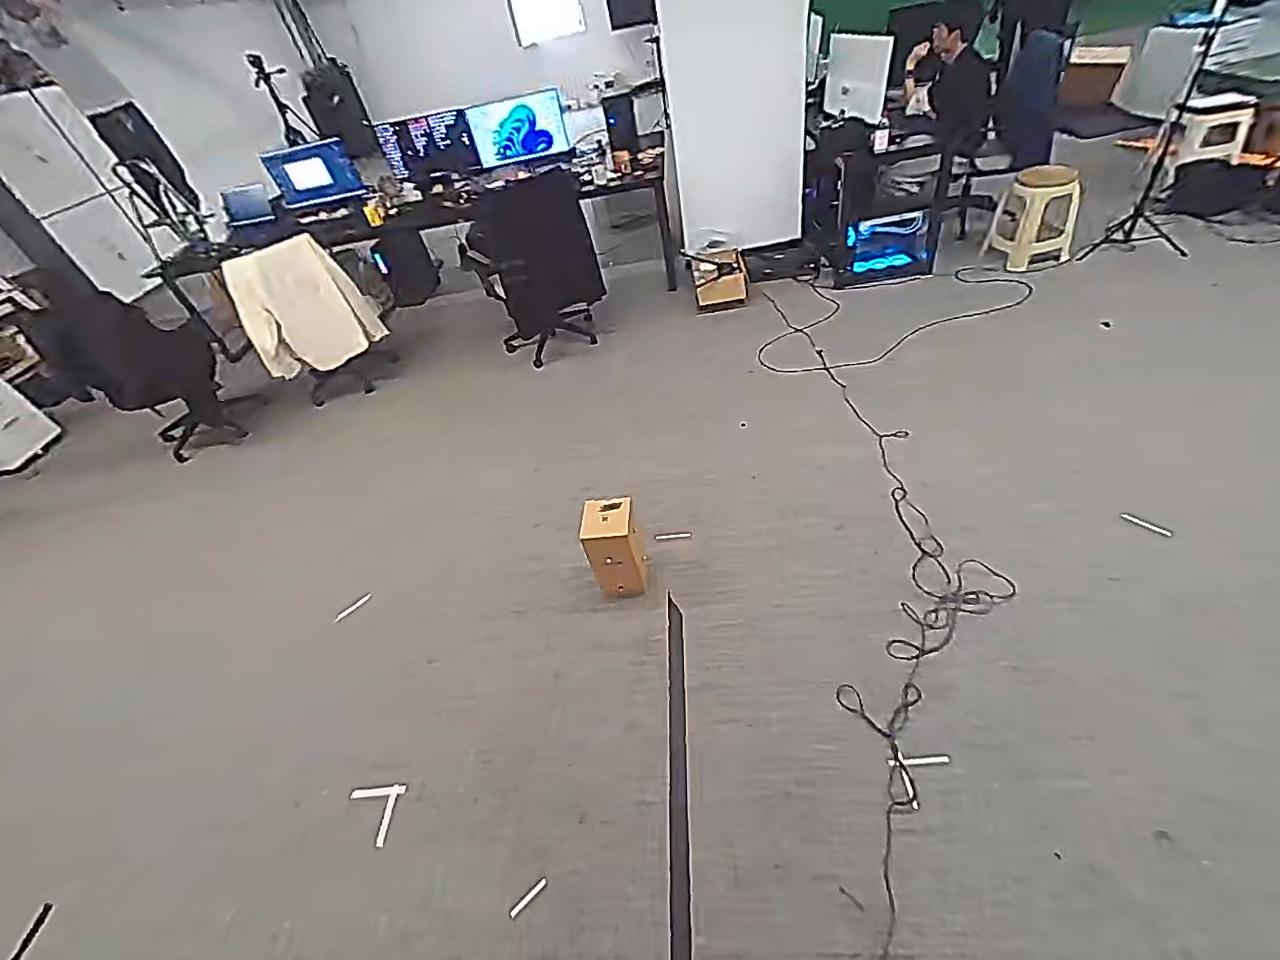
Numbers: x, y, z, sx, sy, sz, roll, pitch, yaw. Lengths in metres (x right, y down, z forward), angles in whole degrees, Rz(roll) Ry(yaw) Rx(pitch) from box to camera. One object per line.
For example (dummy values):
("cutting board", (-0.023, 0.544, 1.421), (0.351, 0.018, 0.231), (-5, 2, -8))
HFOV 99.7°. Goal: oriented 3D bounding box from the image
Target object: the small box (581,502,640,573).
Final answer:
("small box", (-0.096, 0.202, 1.887), (0.168, 0.176, 0.179), (-6, 43, 10))
